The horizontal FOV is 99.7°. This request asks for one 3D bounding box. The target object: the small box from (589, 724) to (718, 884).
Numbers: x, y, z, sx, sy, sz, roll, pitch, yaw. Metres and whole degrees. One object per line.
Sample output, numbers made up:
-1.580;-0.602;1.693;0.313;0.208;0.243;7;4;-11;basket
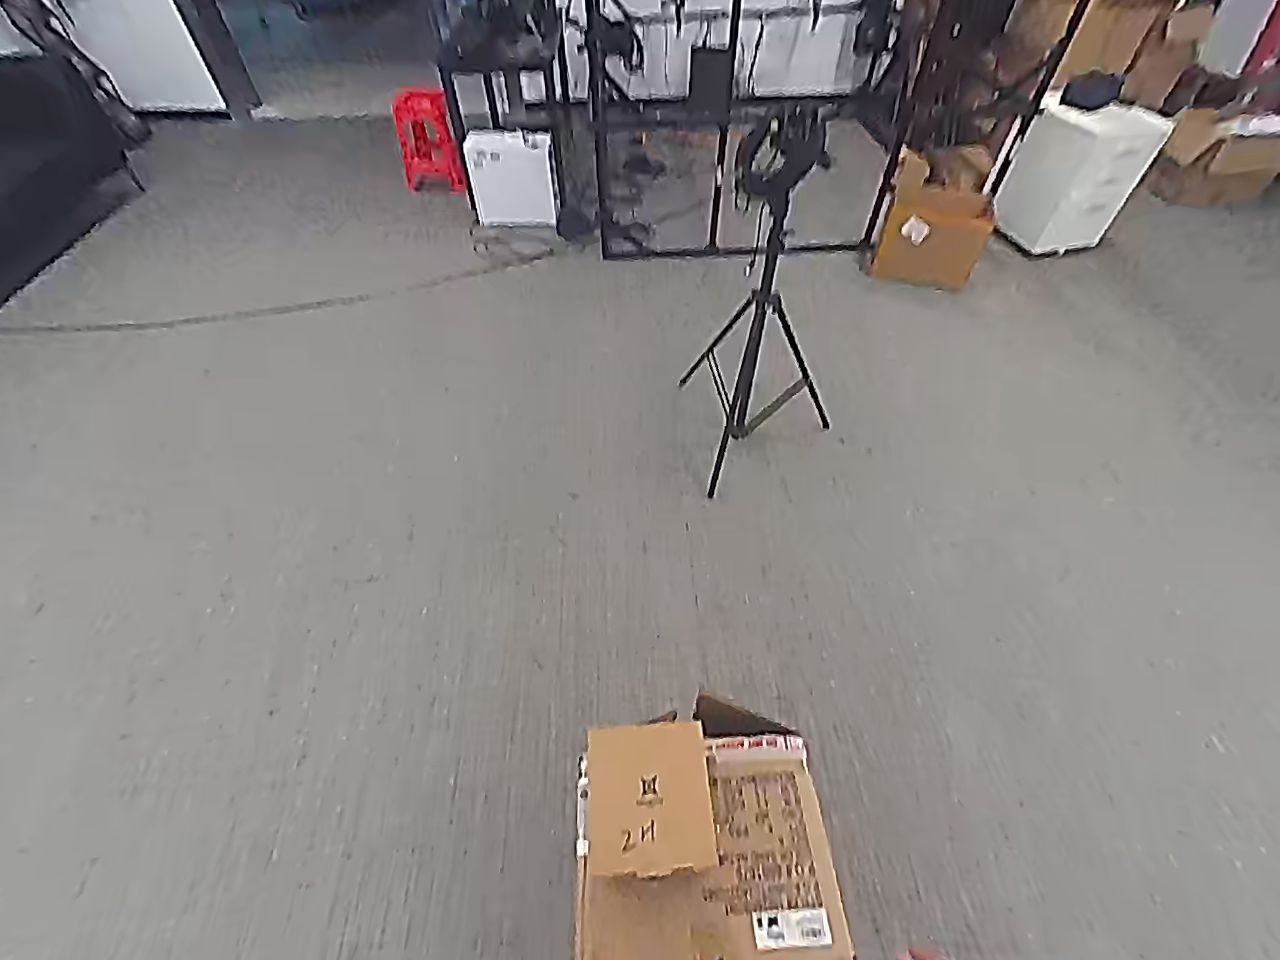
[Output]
0.015;0.472;0.786;0.168;0.176;0.179;-4;53;0;small box
